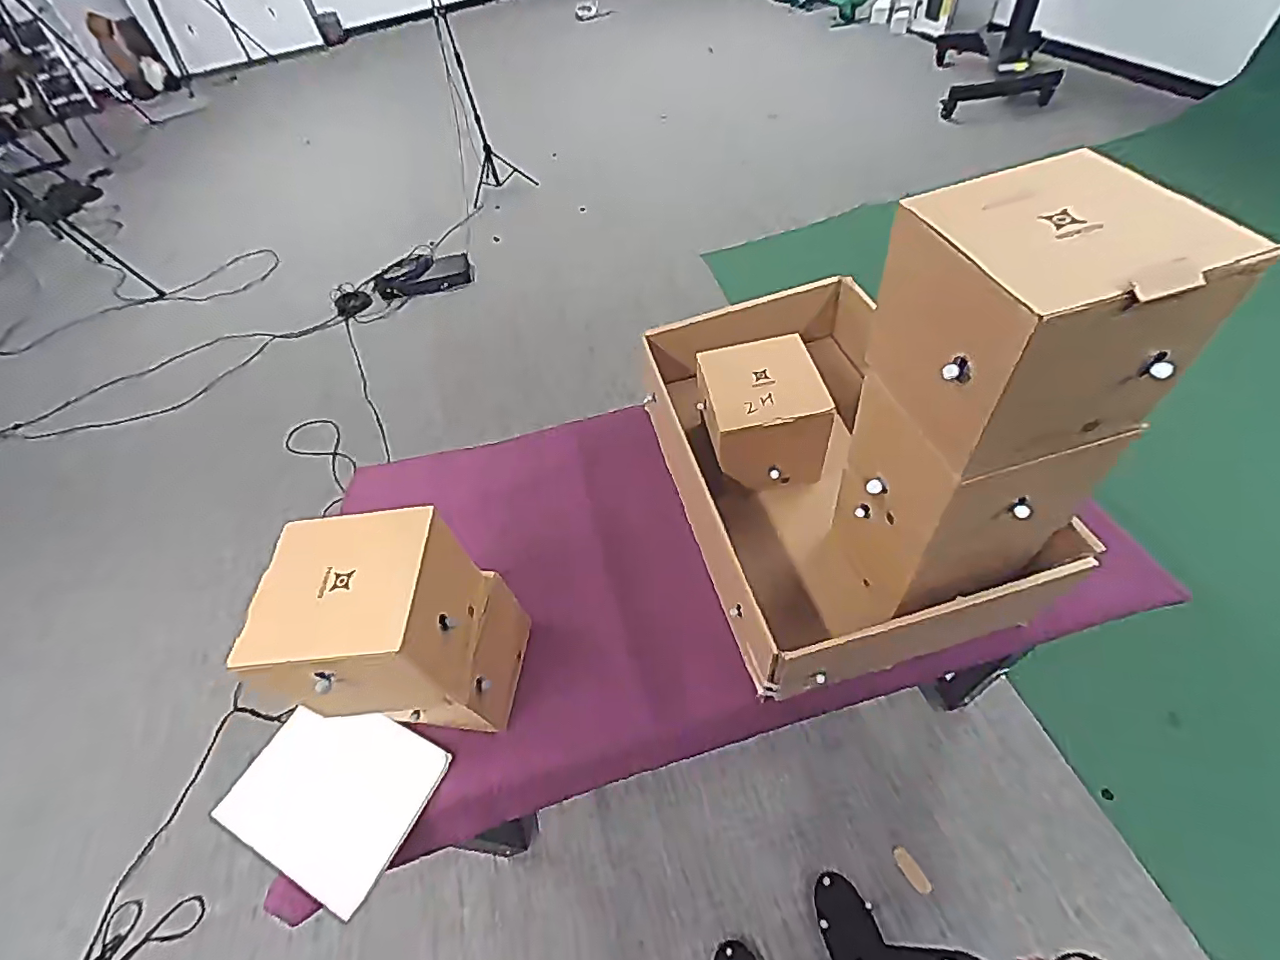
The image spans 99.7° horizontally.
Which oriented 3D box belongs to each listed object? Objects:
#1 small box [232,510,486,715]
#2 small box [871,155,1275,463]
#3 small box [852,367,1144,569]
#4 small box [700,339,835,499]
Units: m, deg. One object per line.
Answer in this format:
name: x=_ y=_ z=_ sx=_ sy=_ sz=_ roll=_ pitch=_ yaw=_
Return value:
small box: x=-0.290 y=0.154 z=0.610 sx=0.179 sy=0.176 sz=0.168 roll=-7 pitch=51 yaw=5
small box: x=0.321 y=-0.133 z=0.455 sx=0.168 sy=0.176 sz=0.179 roll=-15 pitch=50 yaw=-1
small box: x=0.351 y=-0.030 z=0.577 sx=0.179 sy=0.176 sz=0.168 roll=-17 pitch=51 yaw=0
small box: x=0.194 y=-0.094 z=0.869 sx=0.168 sy=0.176 sz=0.179 roll=-11 pitch=52 yaw=2
